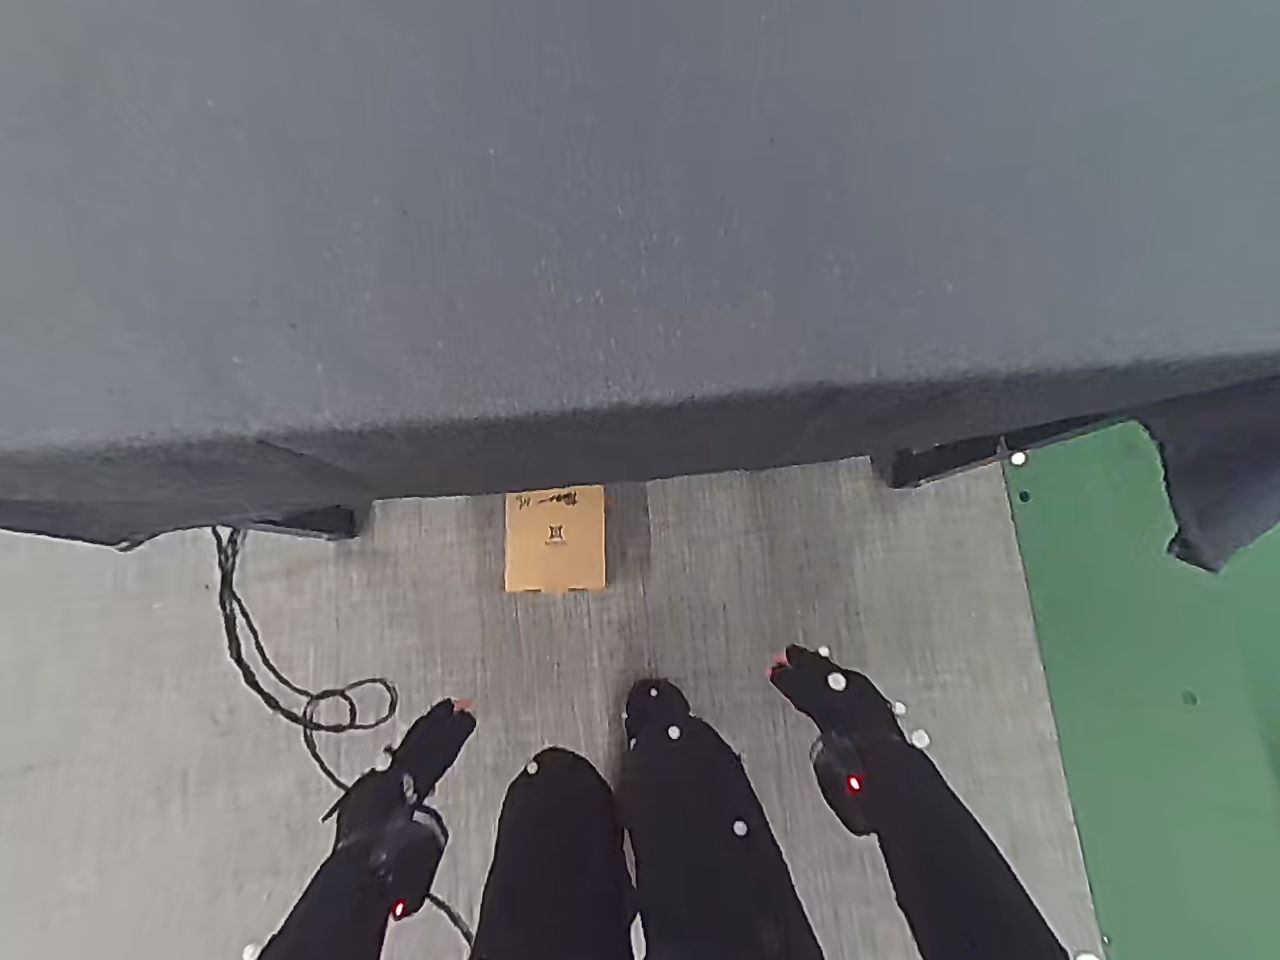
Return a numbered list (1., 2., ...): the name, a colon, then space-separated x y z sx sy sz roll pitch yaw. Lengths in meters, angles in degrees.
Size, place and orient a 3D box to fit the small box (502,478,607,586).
1. small box: -0.144 0.095 0.962 0.168 0.176 0.179 0 80 -2
